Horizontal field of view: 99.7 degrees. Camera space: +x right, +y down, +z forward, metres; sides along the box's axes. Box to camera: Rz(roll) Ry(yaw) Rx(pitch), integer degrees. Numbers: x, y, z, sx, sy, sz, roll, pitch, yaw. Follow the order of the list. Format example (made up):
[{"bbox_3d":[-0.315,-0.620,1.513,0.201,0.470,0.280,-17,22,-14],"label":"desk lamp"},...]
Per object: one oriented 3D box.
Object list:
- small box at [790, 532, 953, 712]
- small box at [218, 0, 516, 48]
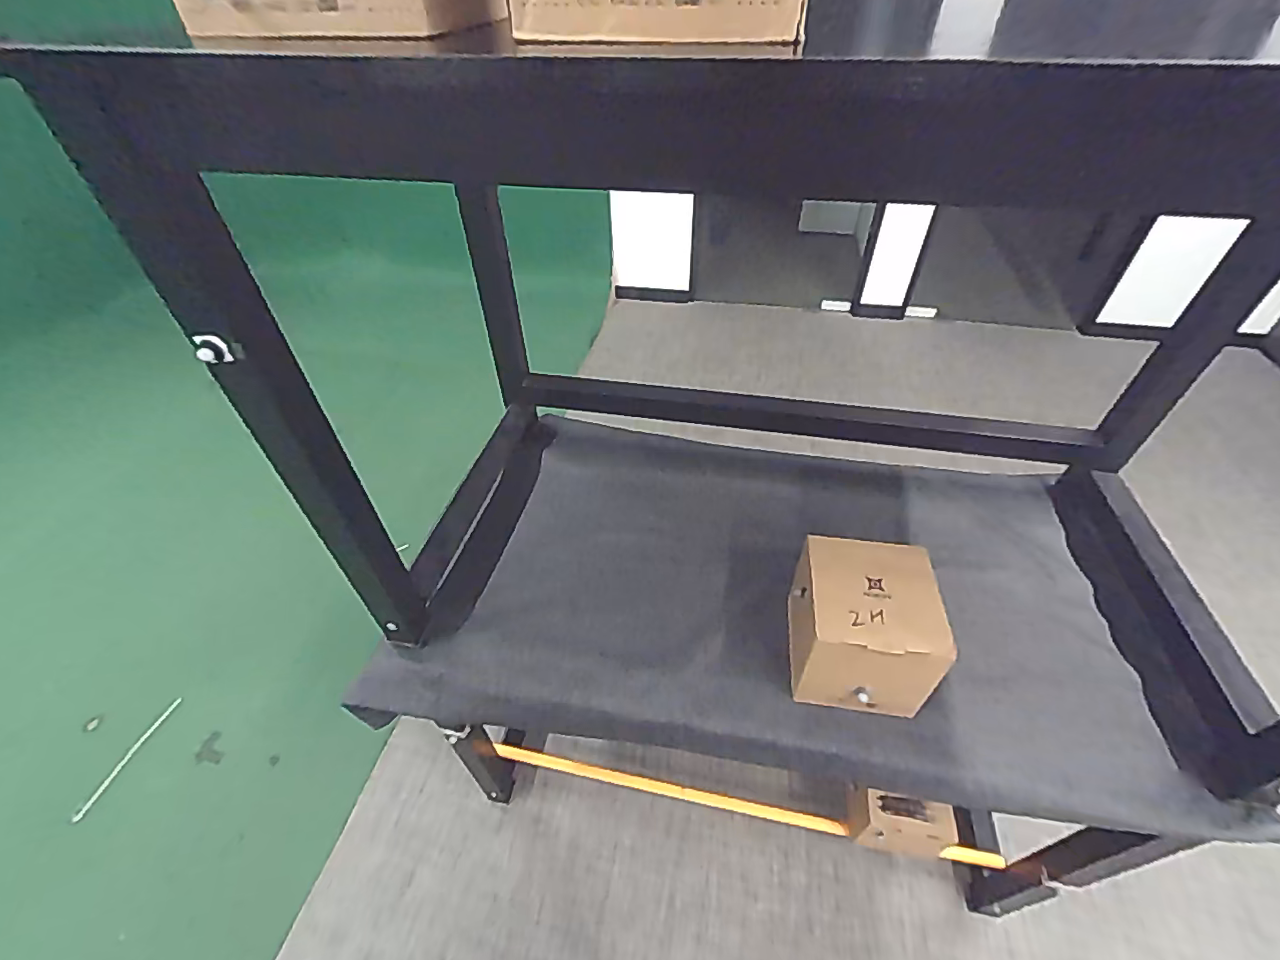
[{"bbox_3d":[0.313,0.202,0.777,0.168,0.176,0.179,6,43,8],"label":"small box"},{"bbox_3d":[-0.191,-0.400,0.358,0.168,0.176,0.179,5,43,5],"label":"small box"}]
